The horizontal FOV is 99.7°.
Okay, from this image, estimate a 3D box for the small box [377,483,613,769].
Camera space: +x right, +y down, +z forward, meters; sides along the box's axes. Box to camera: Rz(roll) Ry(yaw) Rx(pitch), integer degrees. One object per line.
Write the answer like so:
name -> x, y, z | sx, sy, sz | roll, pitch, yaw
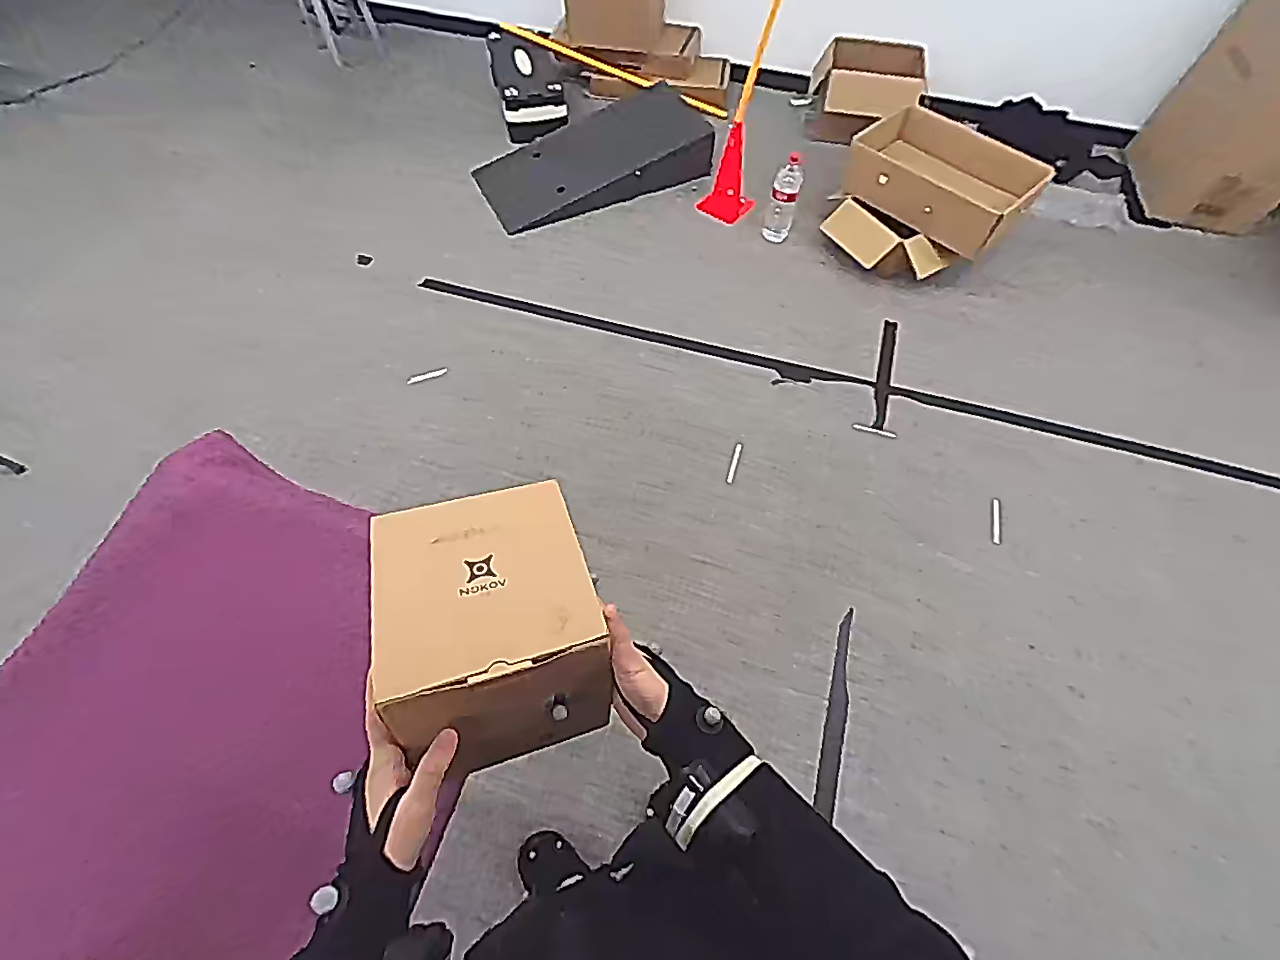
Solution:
small box -> -0.125, 0.133, 0.486 | 0.168, 0.176, 0.179 | -12, 46, -16
